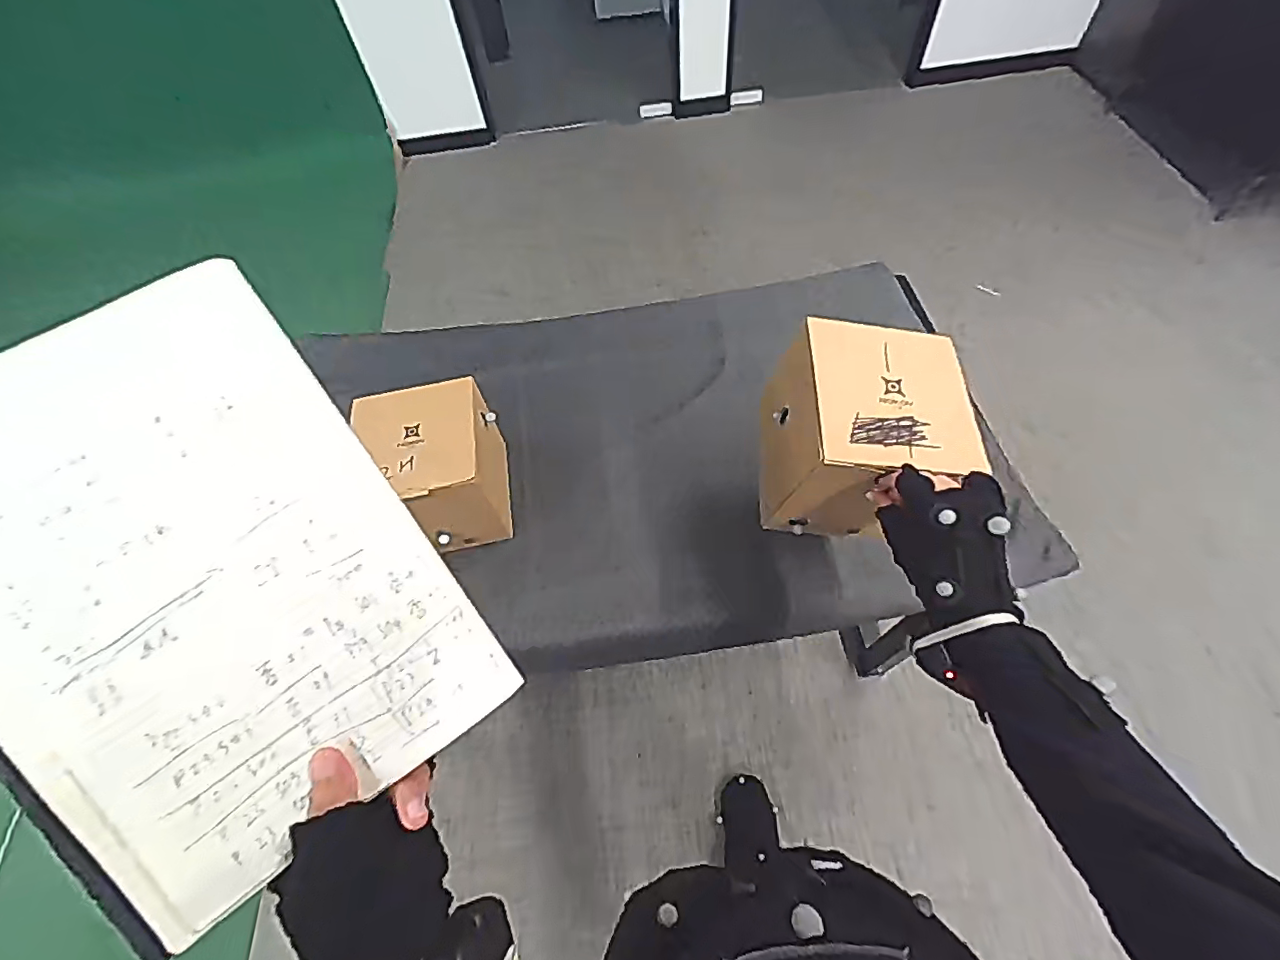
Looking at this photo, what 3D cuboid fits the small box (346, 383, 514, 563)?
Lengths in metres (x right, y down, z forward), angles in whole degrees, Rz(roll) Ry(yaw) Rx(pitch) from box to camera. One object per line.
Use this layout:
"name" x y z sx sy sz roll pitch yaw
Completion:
"small box" -0.283 -0.006 0.765 0.168 0.176 0.179 -11 58 -2

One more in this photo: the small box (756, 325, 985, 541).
"small box" 0.239 -0.043 0.611 0.168 0.176 0.179 6 60 -6
